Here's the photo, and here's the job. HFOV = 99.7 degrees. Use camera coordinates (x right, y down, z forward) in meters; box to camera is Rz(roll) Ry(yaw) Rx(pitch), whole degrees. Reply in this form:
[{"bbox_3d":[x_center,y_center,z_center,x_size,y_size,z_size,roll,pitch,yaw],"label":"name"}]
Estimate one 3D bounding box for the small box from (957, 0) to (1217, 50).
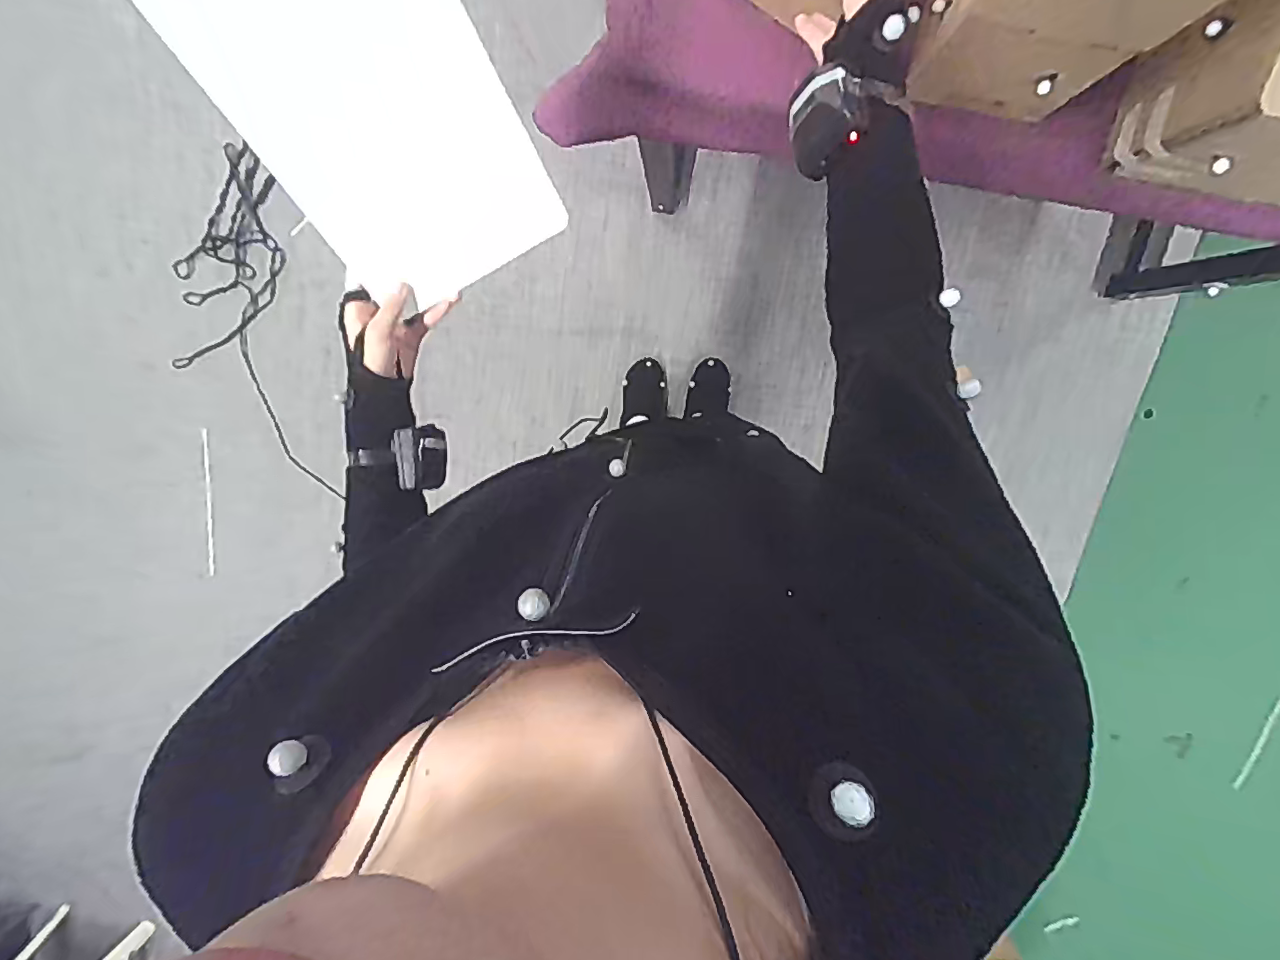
[{"bbox_3d":[0.379,-0.459,0.394,0.179,0.176,0.168,12,102,2],"label":"small box"}]
